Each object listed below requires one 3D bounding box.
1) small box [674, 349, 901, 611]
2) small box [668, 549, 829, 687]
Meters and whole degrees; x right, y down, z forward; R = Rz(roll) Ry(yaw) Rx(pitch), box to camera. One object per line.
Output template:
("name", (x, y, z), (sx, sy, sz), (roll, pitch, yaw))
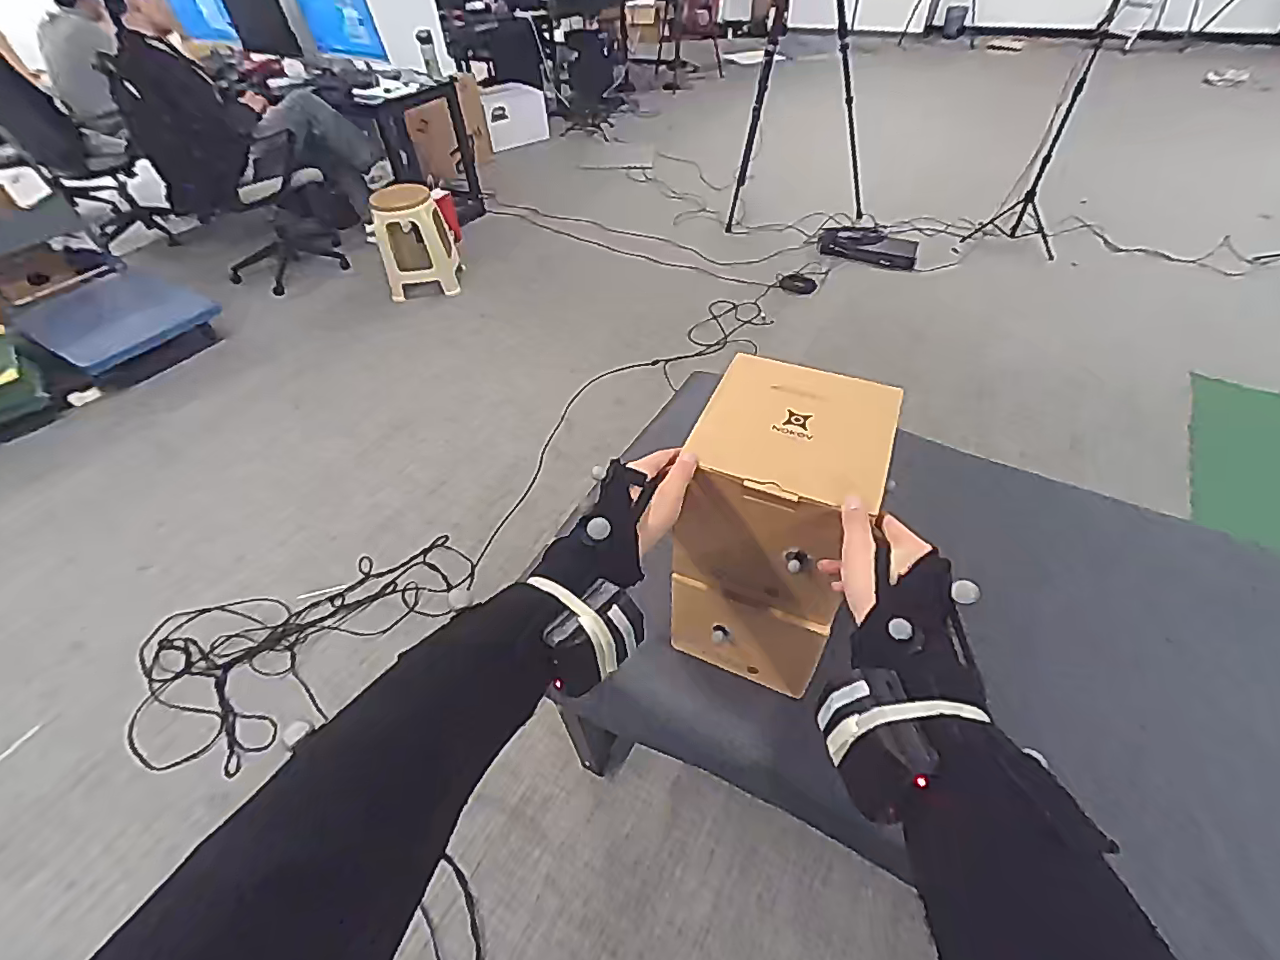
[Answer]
("small box", (0.139, 0.001, 0.542), (0.168, 0.176, 0.179), (18, 49, 16))
("small box", (0.143, 0.119, 0.655), (0.168, 0.176, 0.179), (18, 50, 18))
